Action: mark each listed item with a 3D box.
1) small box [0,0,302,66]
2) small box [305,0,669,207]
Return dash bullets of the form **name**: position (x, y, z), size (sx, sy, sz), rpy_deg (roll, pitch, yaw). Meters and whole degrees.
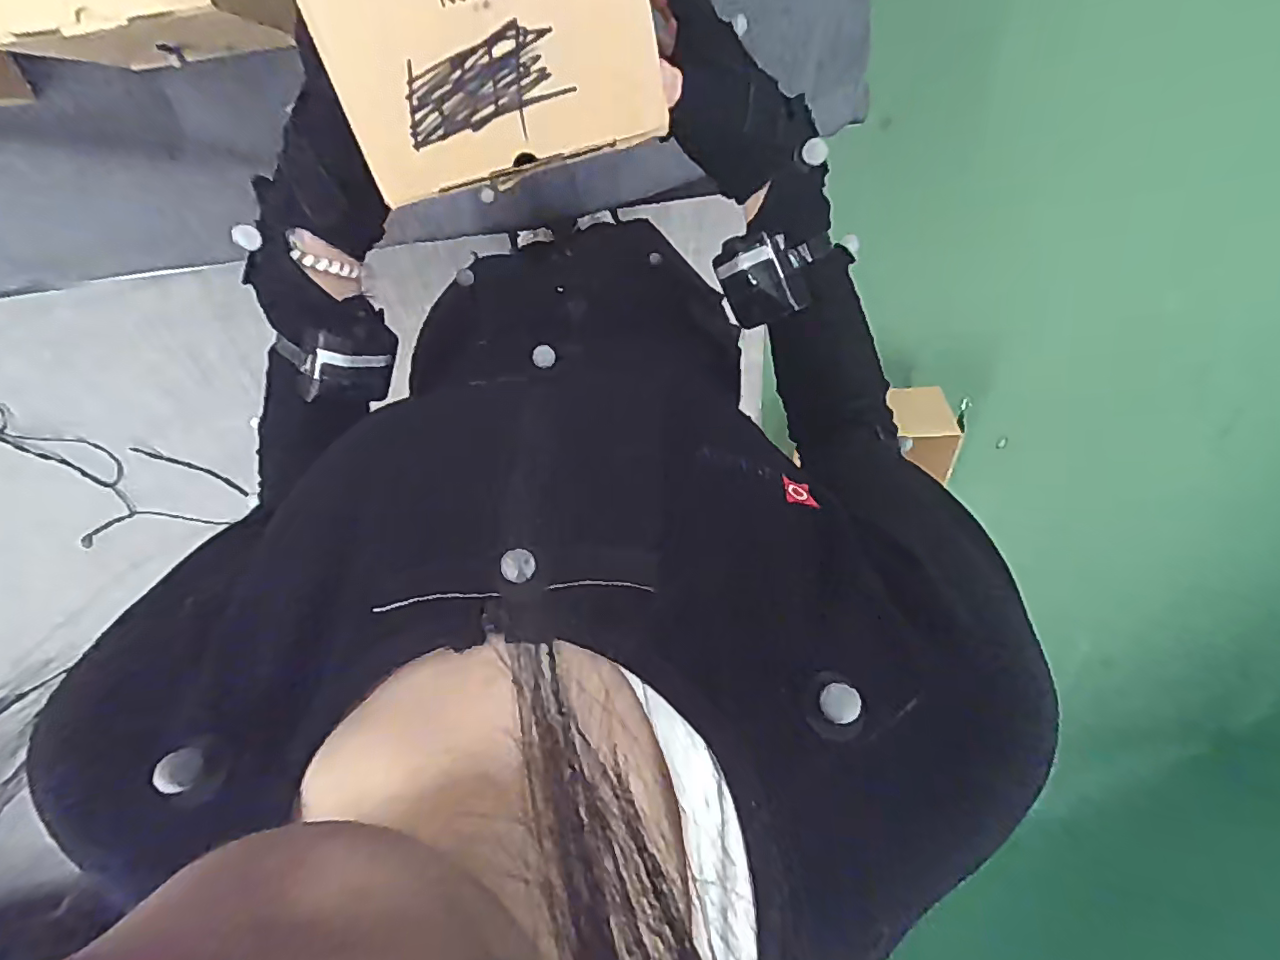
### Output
- **small box**: position (-0.381, -0.414, 0.377), size (0.168, 0.176, 0.179), rpy_deg (-11, 125, -2)
- **small box**: position (-0.085, -0.283, 0.323), size (0.168, 0.176, 0.179), rpy_deg (-14, 121, 2)
